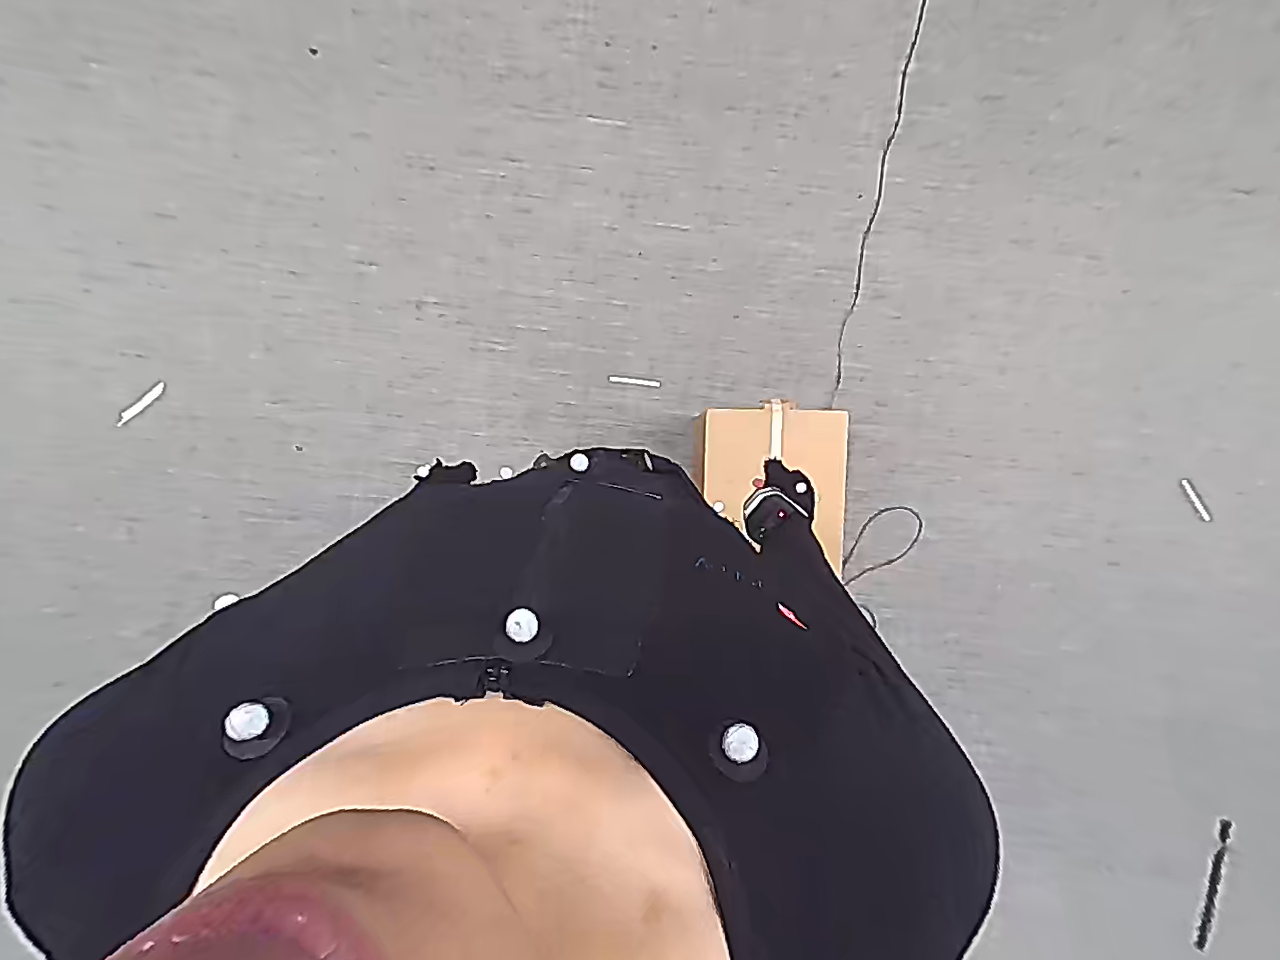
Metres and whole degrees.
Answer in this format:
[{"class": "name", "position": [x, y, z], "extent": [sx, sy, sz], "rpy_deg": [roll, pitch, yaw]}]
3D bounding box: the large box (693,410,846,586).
[{"class": "large box", "position": [0.303, 0.030, 1.363], "extent": [0.320, 0.320, 0.408], "rpy_deg": [1, 95, 1]}]
